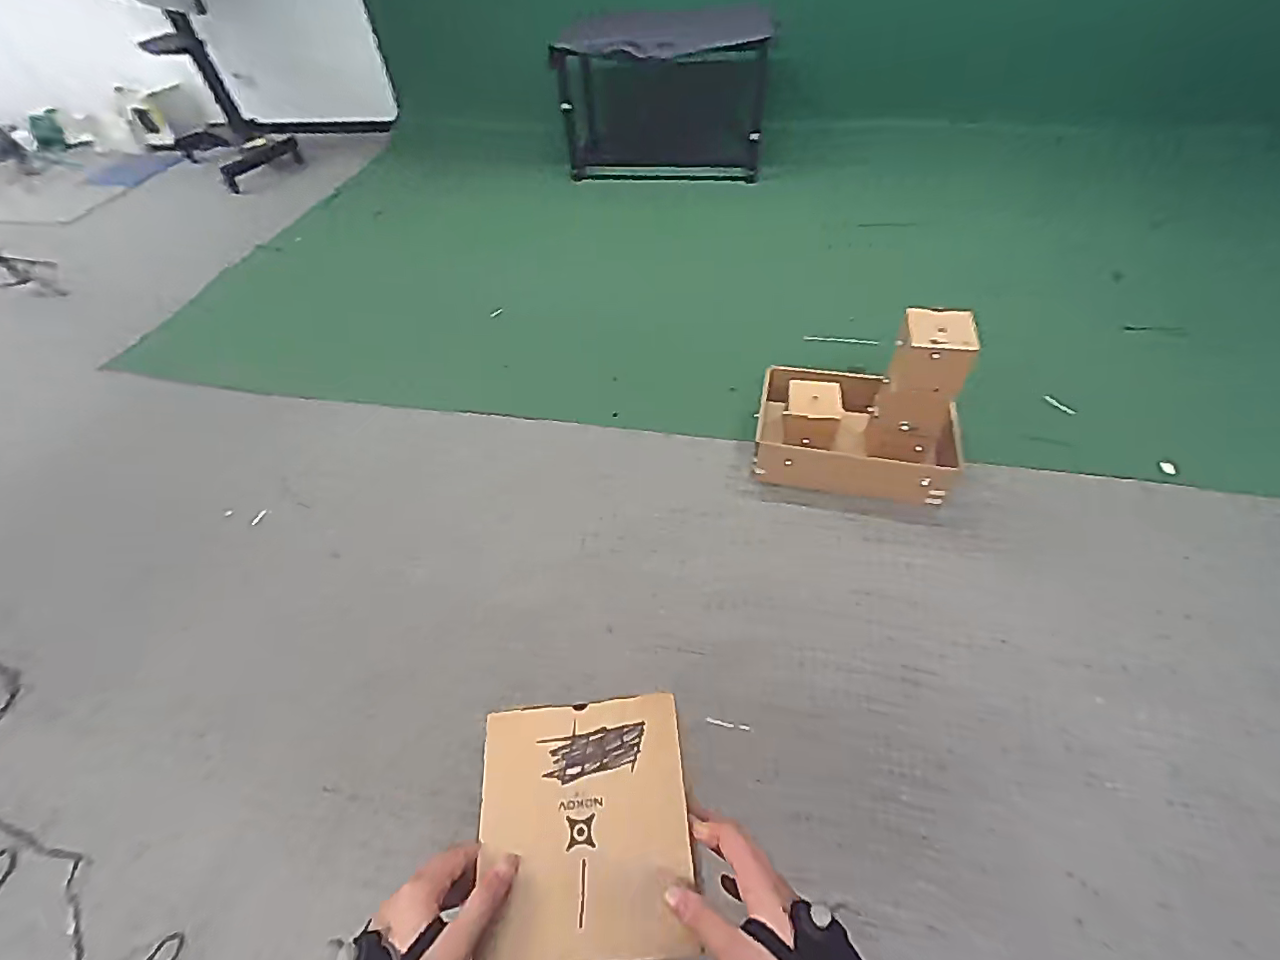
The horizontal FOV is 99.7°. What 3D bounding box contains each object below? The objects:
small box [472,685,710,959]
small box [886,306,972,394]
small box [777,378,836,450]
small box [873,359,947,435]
[{"bbox_3d":[-0.031,0.301,0.480,0.168,0.176,0.179,-8,54,4],"label":"small box"},{"bbox_3d":[0.809,-0.368,1.533,0.168,0.176,0.179,6,52,11],"label":"small box"},{"bbox_3d":[0.568,-0.227,1.862,0.168,0.176,0.179,5,53,8],"label":"small box"},{"bbox_3d":[0.821,-0.266,1.662,0.168,0.176,0.179,9,54,13],"label":"small box"}]
